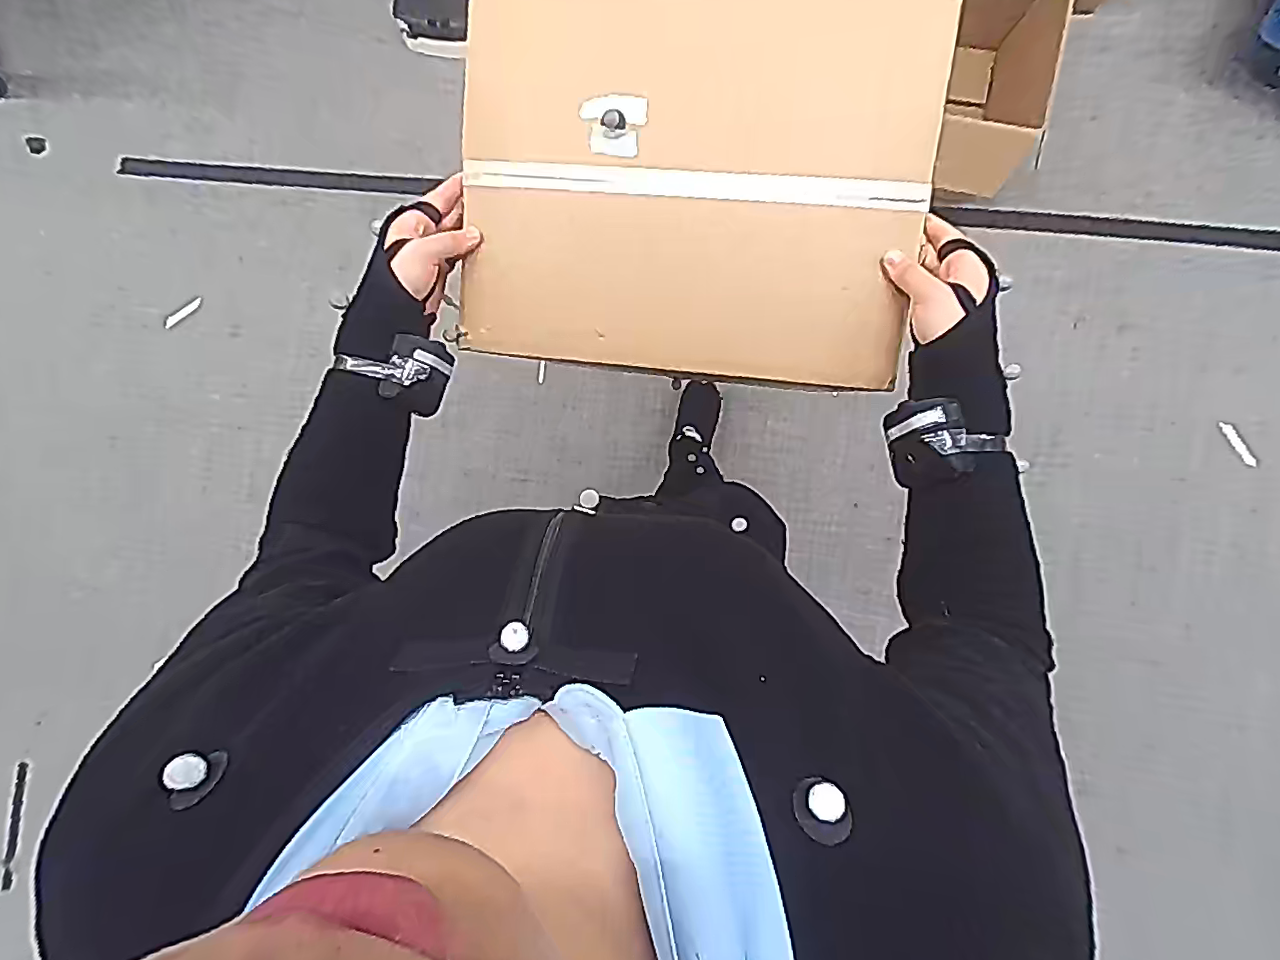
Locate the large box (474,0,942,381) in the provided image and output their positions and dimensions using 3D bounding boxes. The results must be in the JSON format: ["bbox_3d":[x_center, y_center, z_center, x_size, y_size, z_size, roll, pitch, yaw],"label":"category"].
[{"bbox_3d":[0.064,-0.285,0.633,0.408,0.320,0.320,6,98,7],"label":"large box"}]
